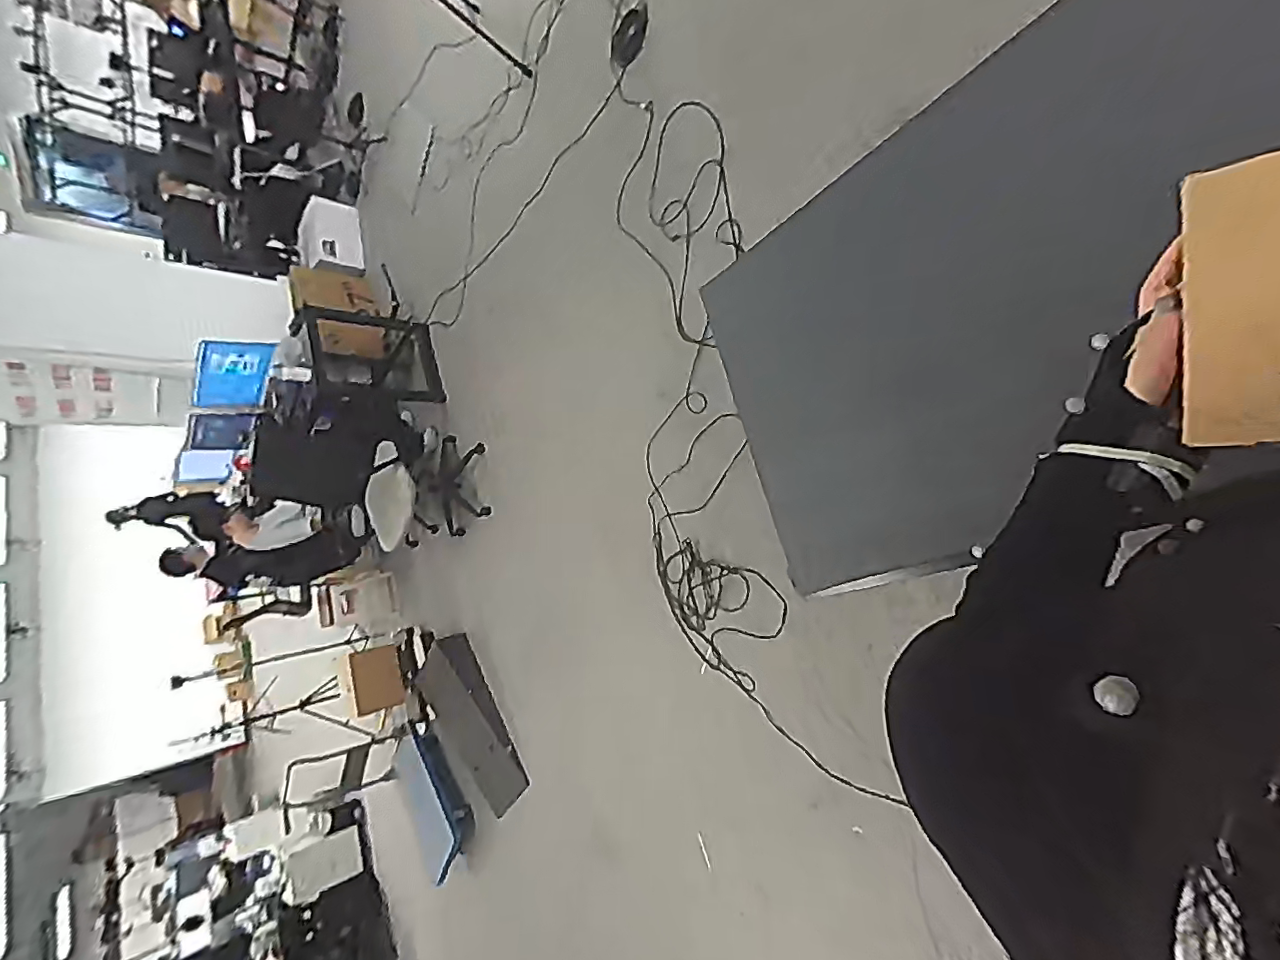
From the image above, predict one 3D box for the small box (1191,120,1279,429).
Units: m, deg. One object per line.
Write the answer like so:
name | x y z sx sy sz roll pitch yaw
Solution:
small box | 0.459 -0.130 0.332 0.168 0.176 0.179 1 102 48
